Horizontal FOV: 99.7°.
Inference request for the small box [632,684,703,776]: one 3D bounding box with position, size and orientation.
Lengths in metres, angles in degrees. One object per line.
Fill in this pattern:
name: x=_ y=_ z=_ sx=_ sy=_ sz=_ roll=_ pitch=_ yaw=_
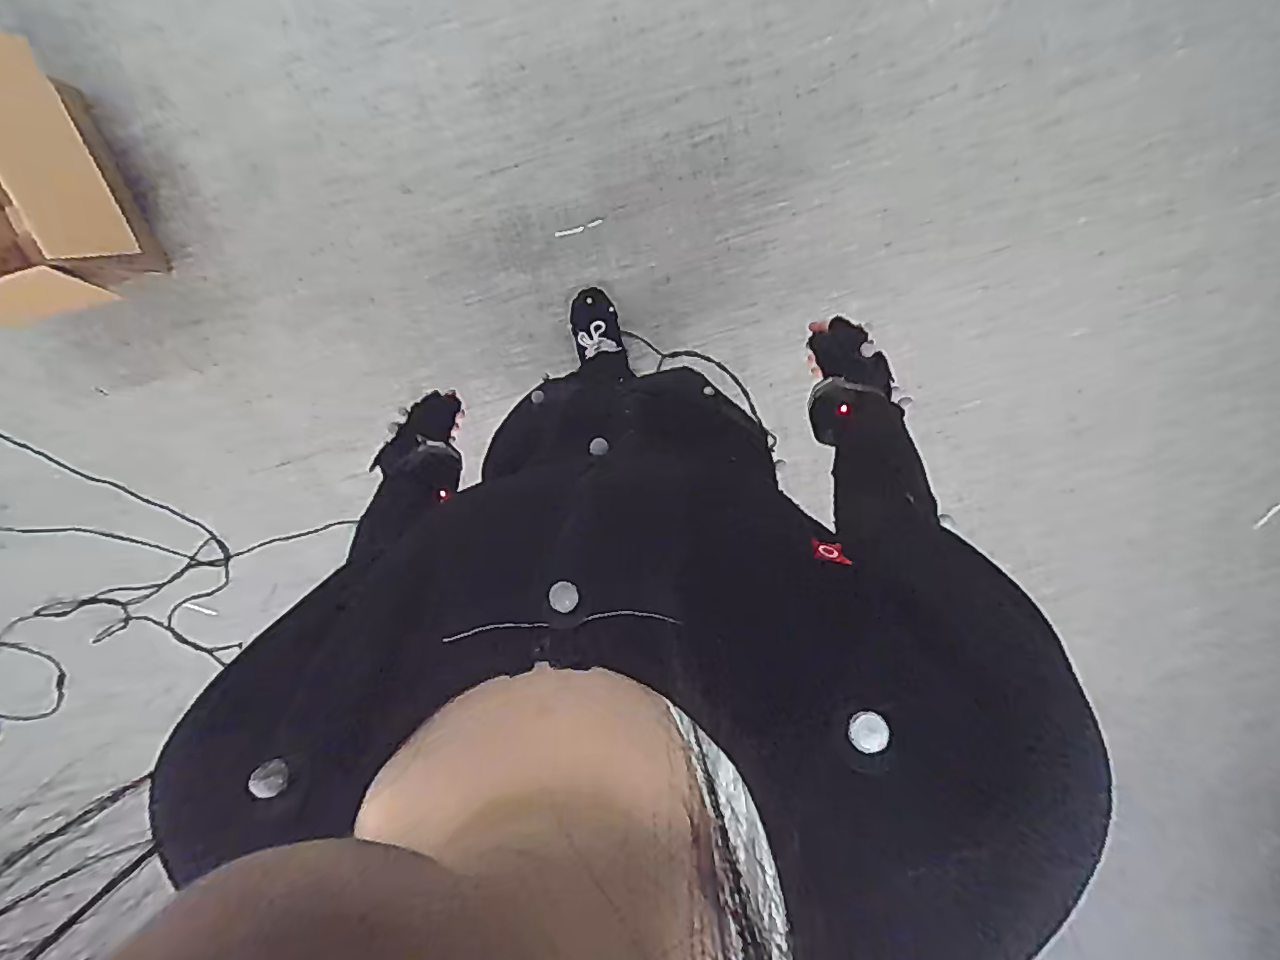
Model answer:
small box: x=0.081 y=0.761 z=1.660 sx=0.179 sy=0.176 sz=0.168 roll=-18 pitch=106 yaw=3
